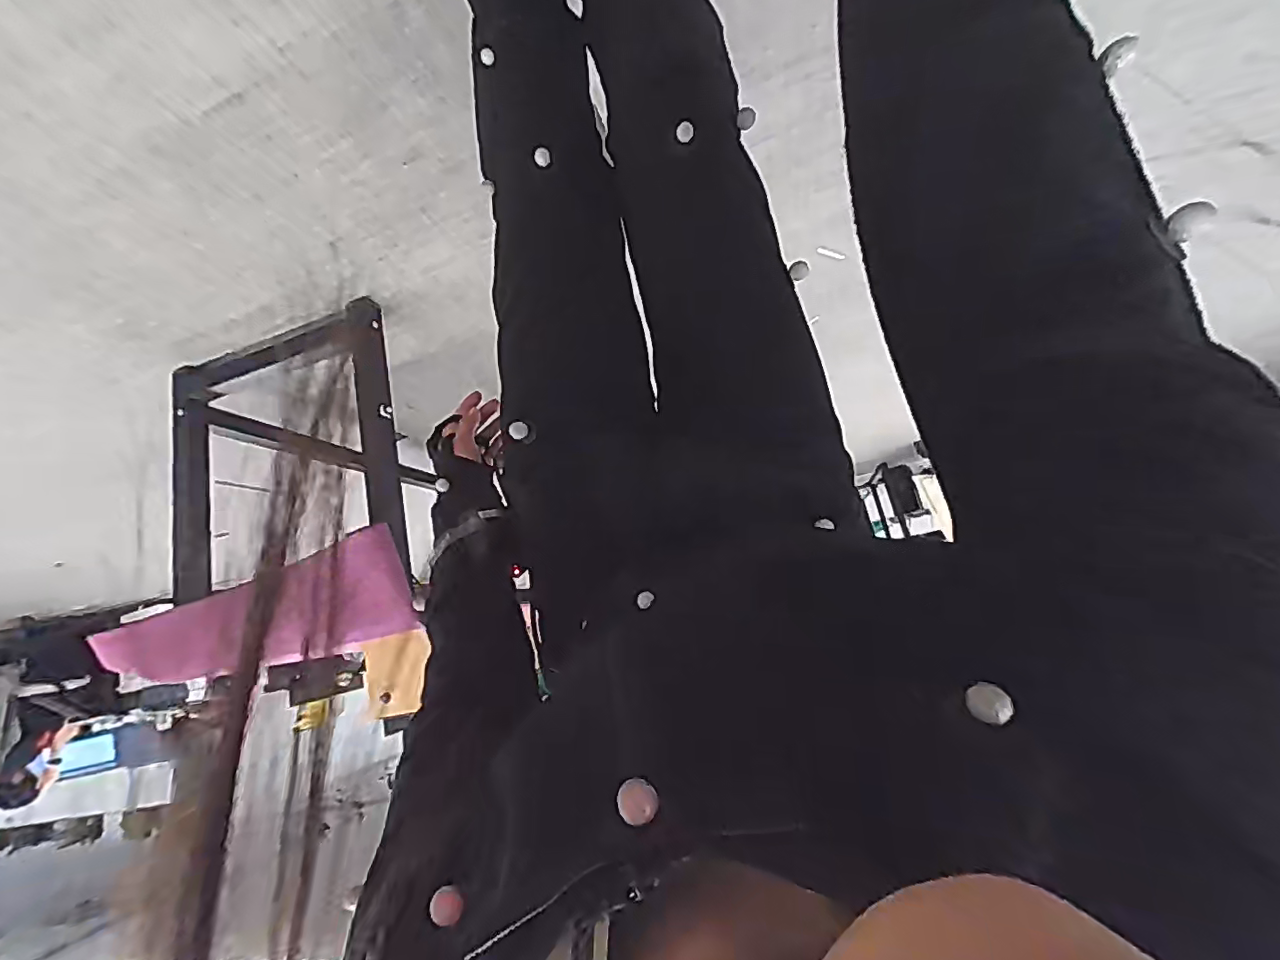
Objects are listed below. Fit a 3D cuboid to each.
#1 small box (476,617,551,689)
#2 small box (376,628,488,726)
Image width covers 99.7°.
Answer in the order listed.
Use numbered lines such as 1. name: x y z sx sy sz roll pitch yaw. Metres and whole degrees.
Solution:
1. small box: -0.386 0.502 1.585 0.179 0.176 0.168 -18 166 17
2. small box: -0.469 0.435 1.218 0.179 0.176 0.168 -16 168 14
